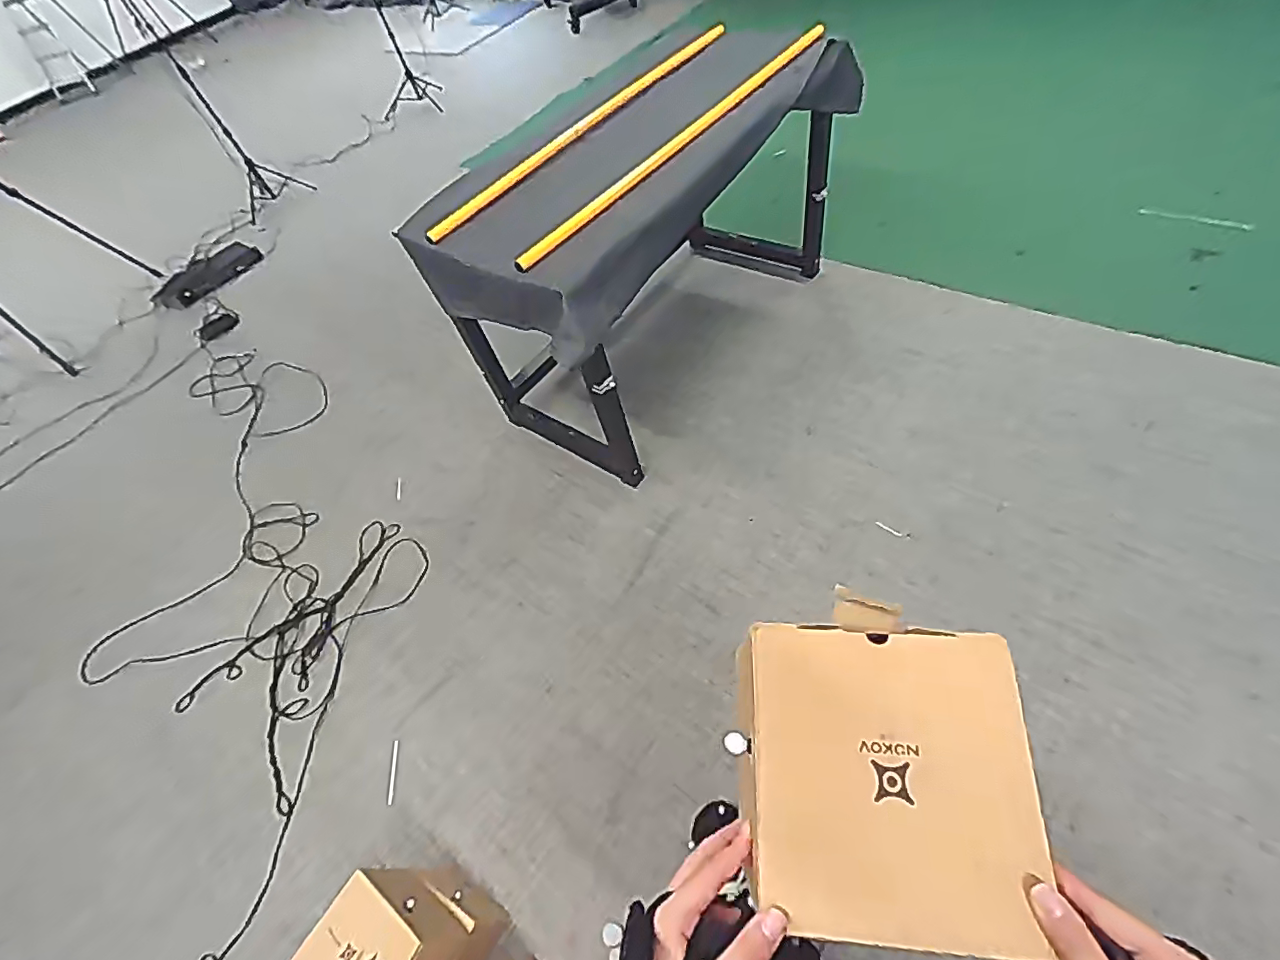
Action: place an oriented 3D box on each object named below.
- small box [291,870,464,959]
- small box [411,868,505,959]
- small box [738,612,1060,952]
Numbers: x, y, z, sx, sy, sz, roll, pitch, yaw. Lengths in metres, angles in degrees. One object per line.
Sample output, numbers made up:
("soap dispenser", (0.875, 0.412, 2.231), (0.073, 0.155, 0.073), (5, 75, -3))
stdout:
("small box", (-0.430, 0.786, 0.900), (0.179, 0.176, 0.168), (23, 63, 27))
("small box", (-0.388, 0.880, 1.030), (0.168, 0.176, 0.179), (18, 61, 25))
("small box", (0.162, 0.204, 0.407), (0.168, 0.176, 0.179), (0, 67, 7))
